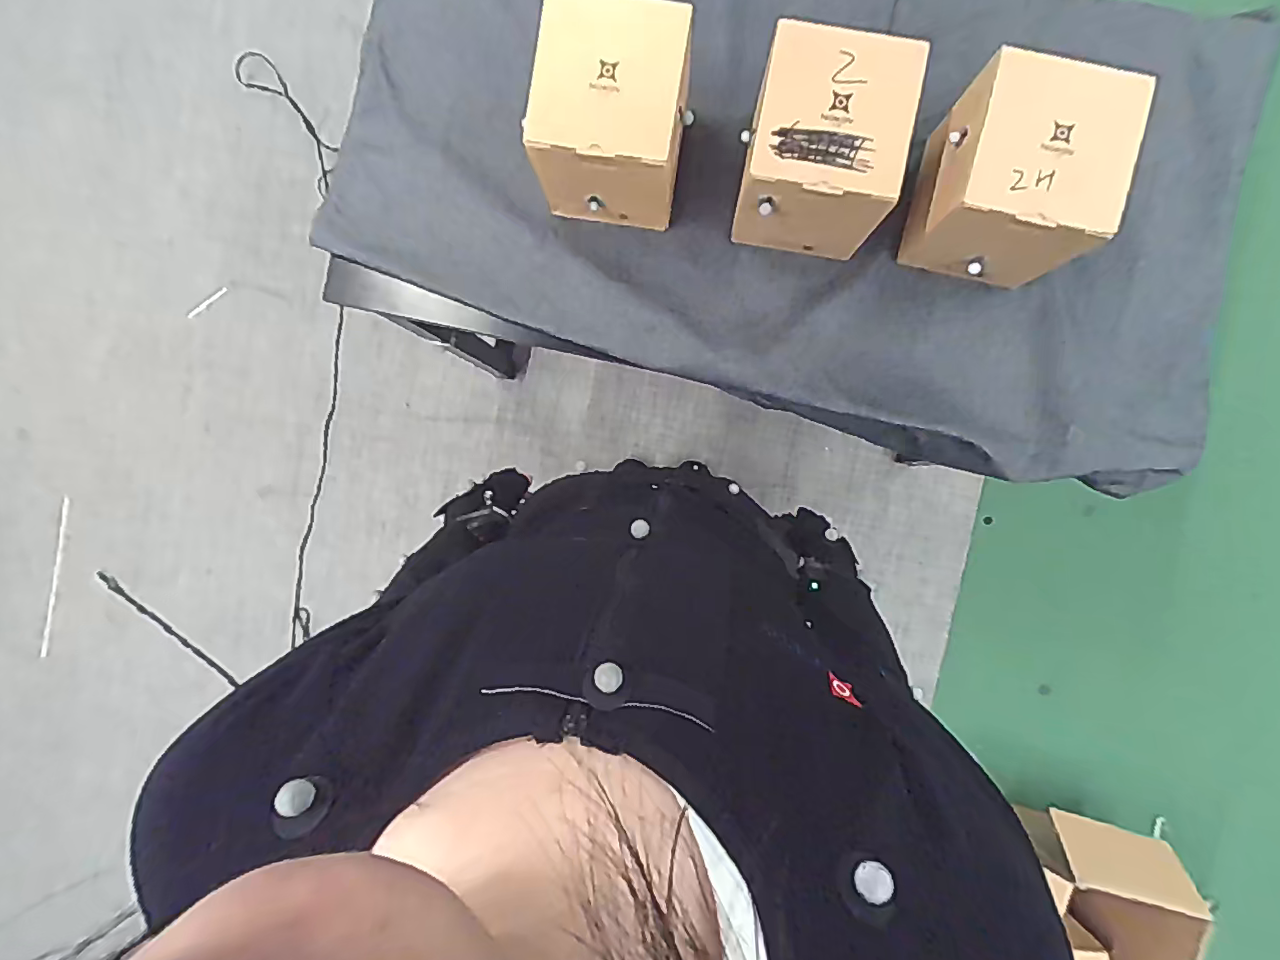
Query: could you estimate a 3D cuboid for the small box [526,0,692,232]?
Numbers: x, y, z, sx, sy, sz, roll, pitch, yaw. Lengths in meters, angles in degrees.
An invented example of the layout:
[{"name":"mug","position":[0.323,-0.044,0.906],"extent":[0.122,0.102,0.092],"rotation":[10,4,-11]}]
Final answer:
[{"name":"small box","position":[-0.034,-0.448,0.686],"extent":[0.168,0.176,0.179],"rotation":[9,92,2]}]
